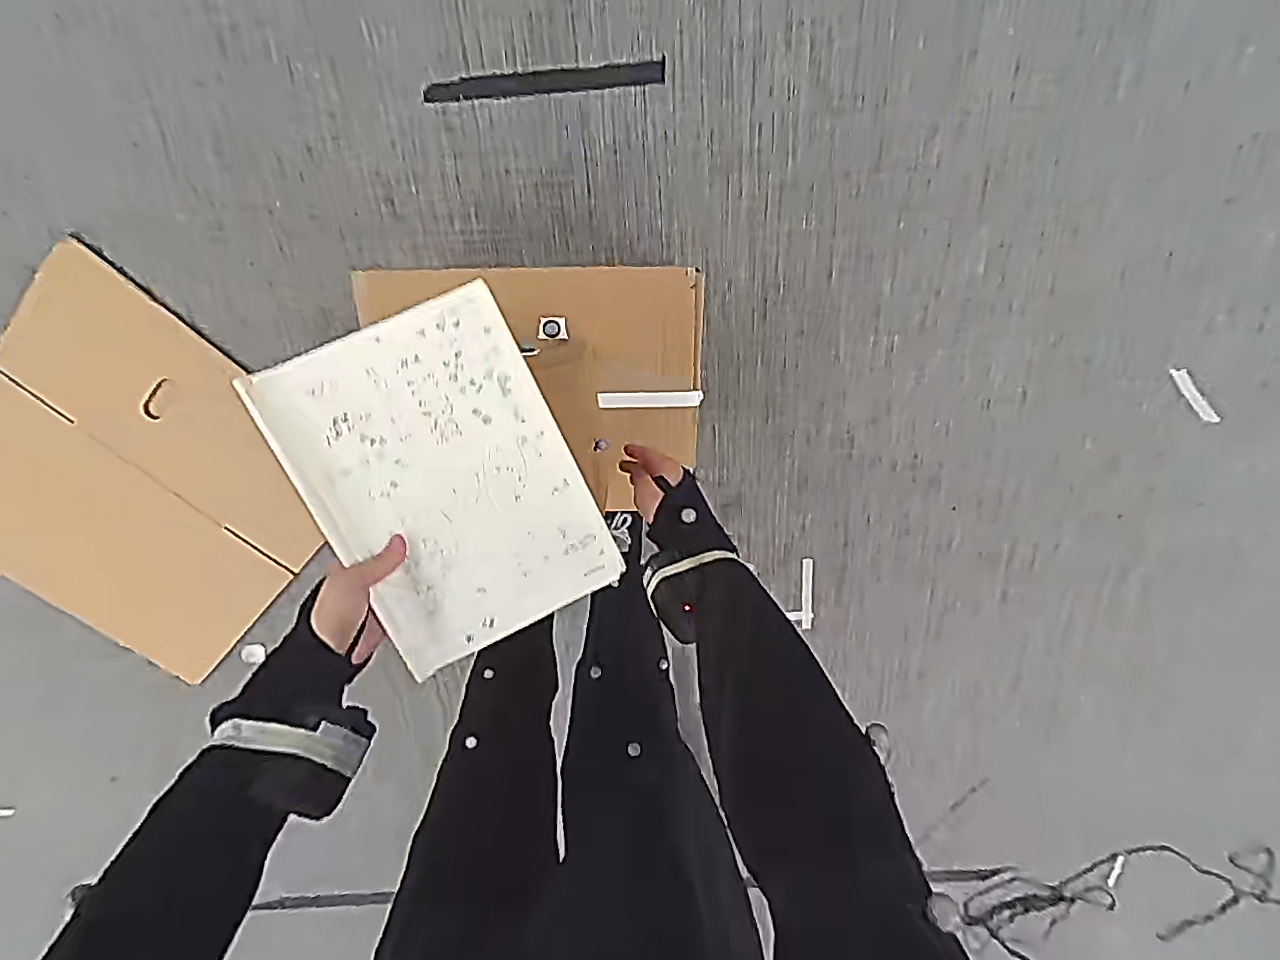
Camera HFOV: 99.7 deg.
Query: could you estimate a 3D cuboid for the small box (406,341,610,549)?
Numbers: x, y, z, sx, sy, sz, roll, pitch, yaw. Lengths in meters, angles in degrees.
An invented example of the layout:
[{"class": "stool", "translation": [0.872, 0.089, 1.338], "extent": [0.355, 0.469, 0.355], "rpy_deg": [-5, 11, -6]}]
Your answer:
[{"class": "small box", "translation": [-0.125, -0.046, 0.595], "extent": [0.168, 0.176, 0.179], "rpy_deg": [-7, 111, 1]}]
